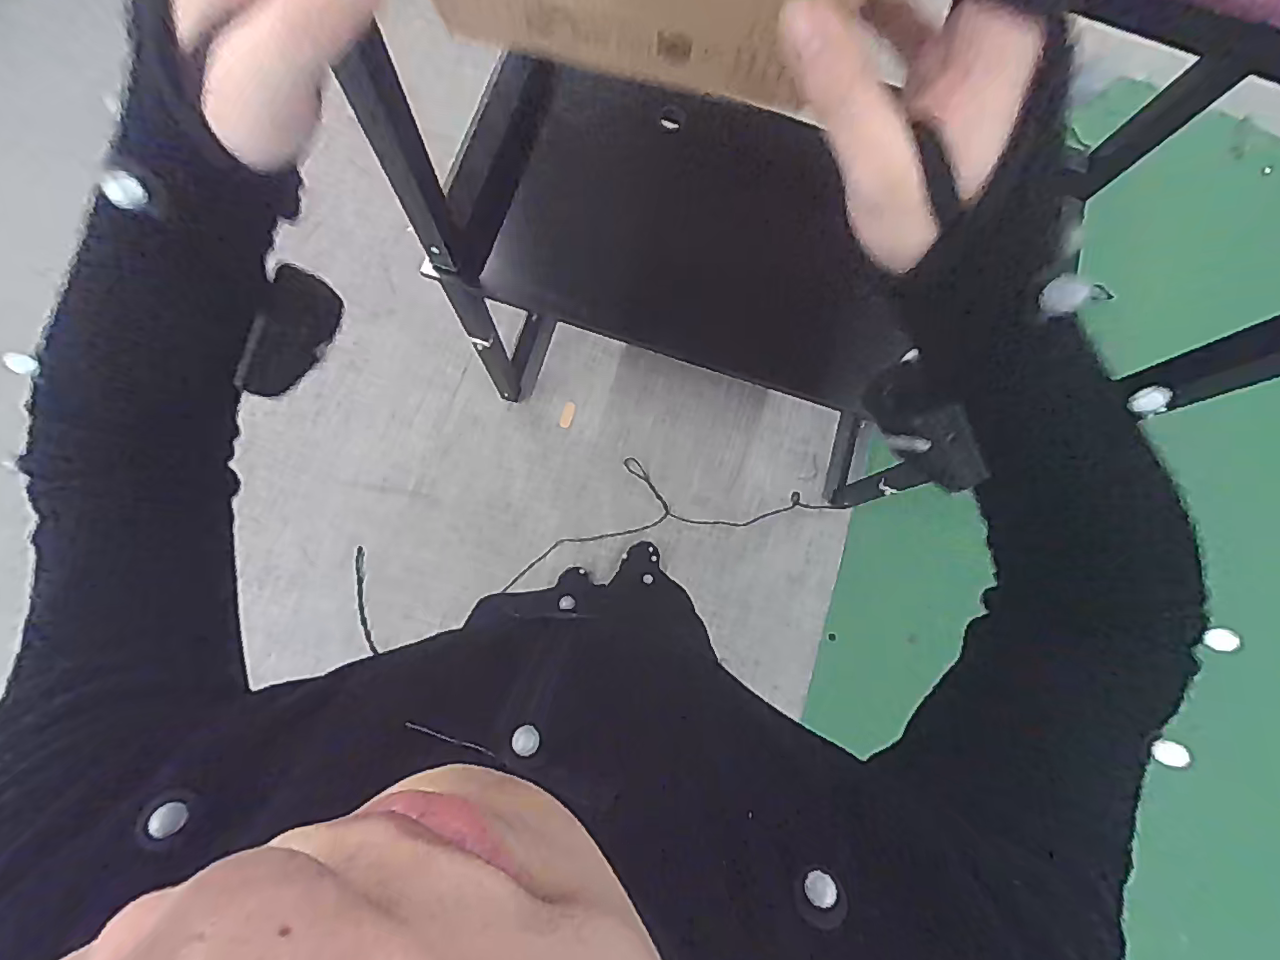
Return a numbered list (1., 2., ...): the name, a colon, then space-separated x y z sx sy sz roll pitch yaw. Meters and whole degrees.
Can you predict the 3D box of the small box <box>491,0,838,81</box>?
1. small box: 0.009 -0.259 0.149 0.168 0.176 0.179 13 98 -1
